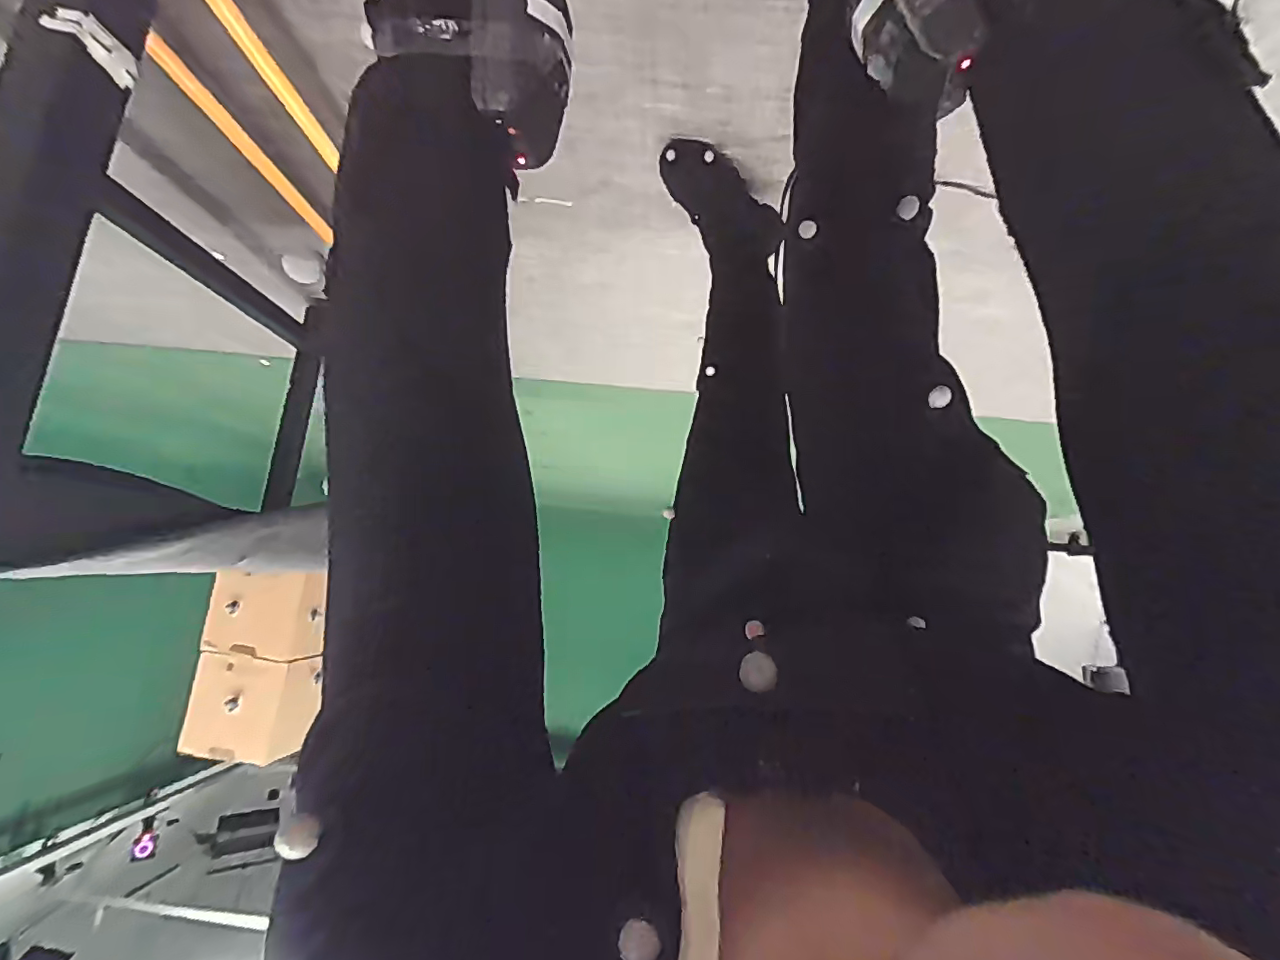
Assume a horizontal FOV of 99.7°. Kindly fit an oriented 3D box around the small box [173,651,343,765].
[{"bbox_3d":[-0.678,0.393,0.981,0.168,0.176,0.179,6,169,5],"label":"small box"}]

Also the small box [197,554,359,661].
[{"bbox_3d":[-0.660,0.231,1.007,0.168,0.176,0.179,6,170,6],"label":"small box"}]
